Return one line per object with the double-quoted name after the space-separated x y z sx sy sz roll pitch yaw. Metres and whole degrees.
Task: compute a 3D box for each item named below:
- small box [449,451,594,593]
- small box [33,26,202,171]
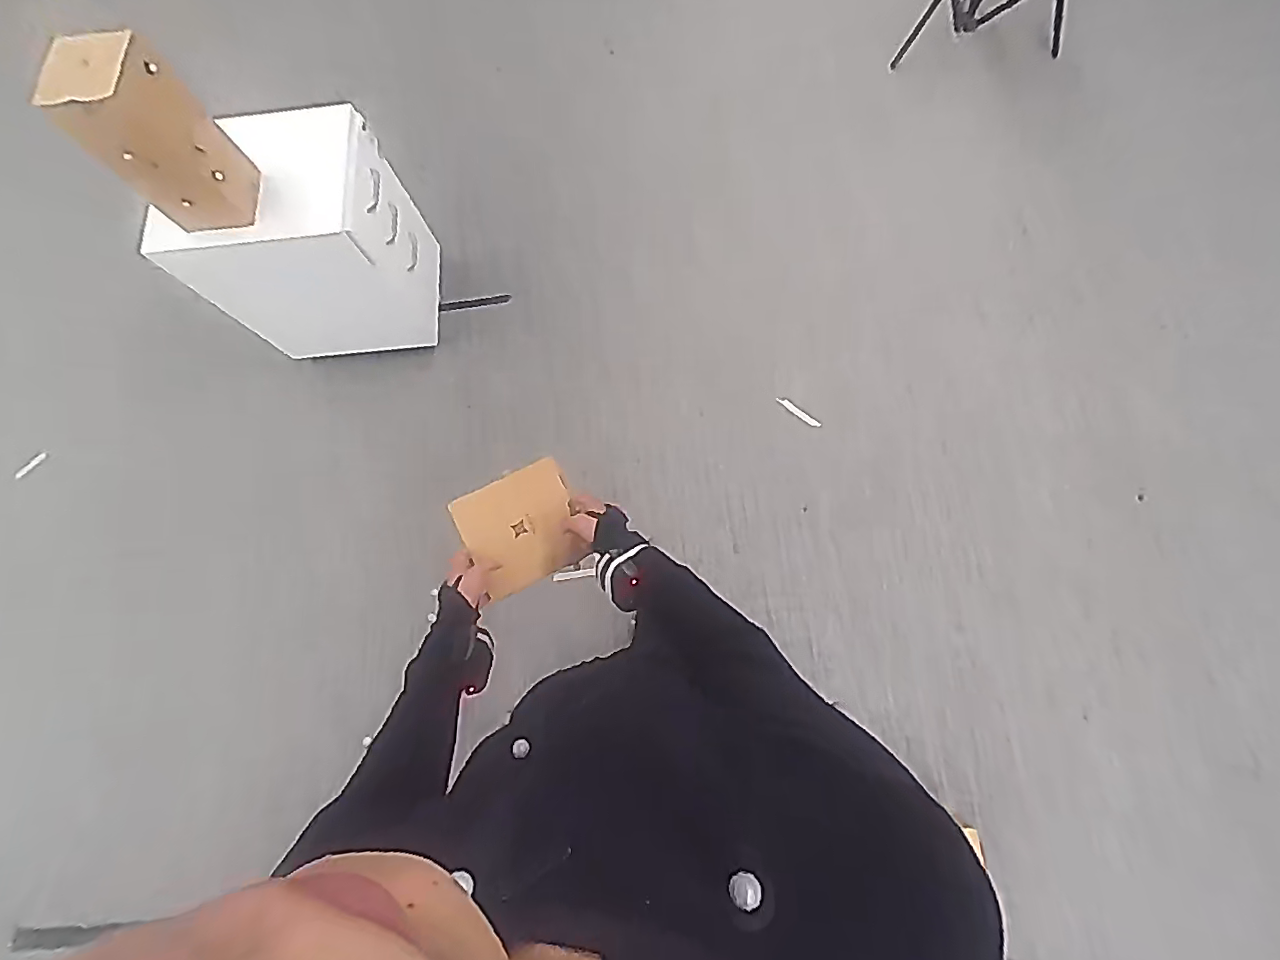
-0.185 0.073 0.902 0.179 0.176 0.168 -26 86 -8 "small box"
-1.046 -0.768 1.100 0.168 0.176 0.179 -3 75 4 "small box"
